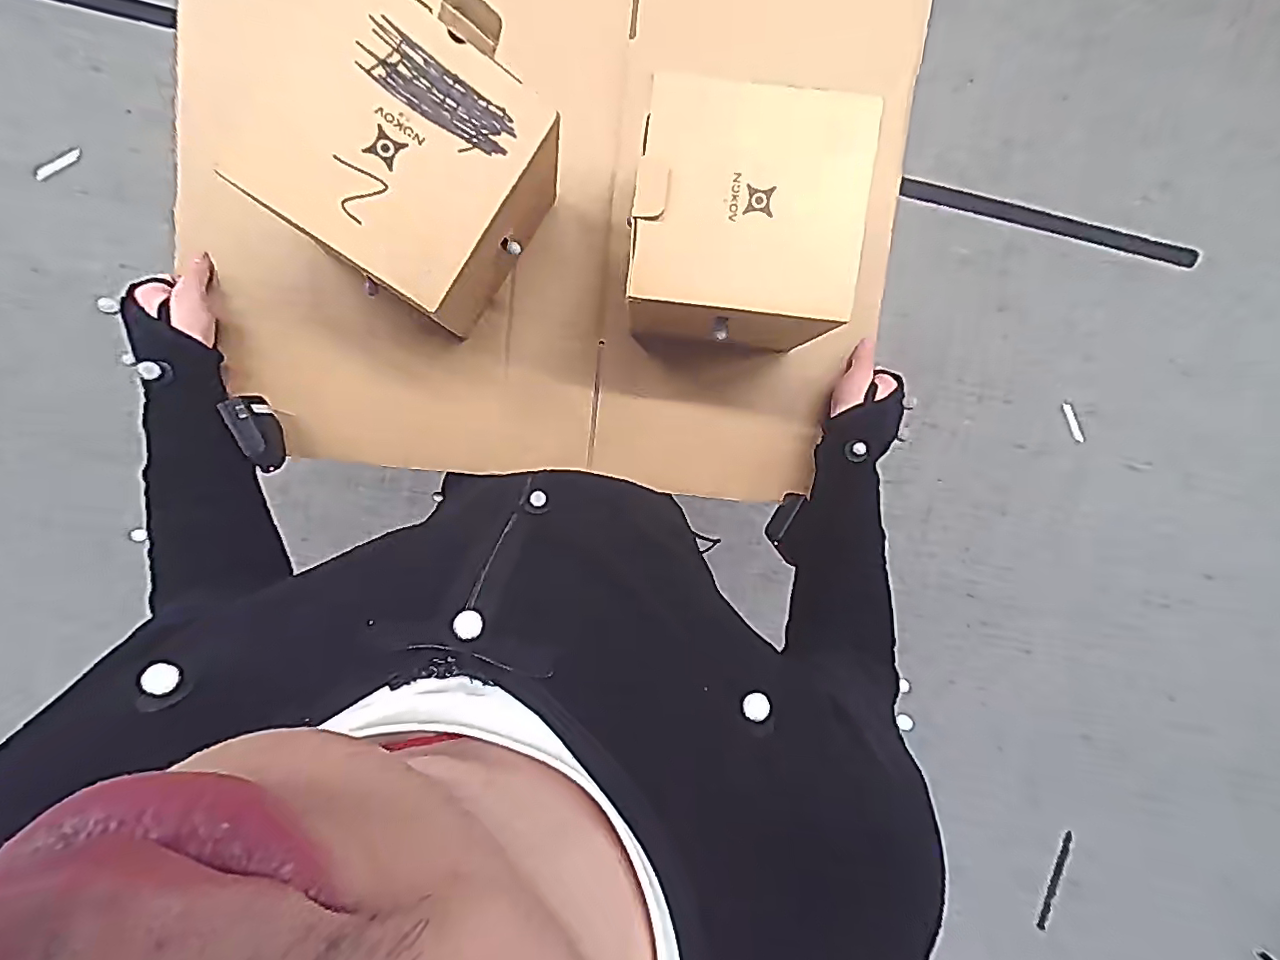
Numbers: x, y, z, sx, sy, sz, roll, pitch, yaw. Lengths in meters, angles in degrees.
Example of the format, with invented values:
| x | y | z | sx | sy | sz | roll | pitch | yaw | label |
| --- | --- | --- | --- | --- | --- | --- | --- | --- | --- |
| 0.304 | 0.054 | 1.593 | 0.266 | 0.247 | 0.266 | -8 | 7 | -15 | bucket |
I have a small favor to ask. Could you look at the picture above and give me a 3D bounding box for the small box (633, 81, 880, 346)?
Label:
| x | y | z | sx | sy | sz | roll | pitch | yaw | label |
| --- | --- | --- | --- | --- | --- | --- | --- | --- | --- |
| 0.090 | -0.224 | 0.503 | 0.179 | 0.176 | 0.168 | 7 | 96 | 0 | small box |
